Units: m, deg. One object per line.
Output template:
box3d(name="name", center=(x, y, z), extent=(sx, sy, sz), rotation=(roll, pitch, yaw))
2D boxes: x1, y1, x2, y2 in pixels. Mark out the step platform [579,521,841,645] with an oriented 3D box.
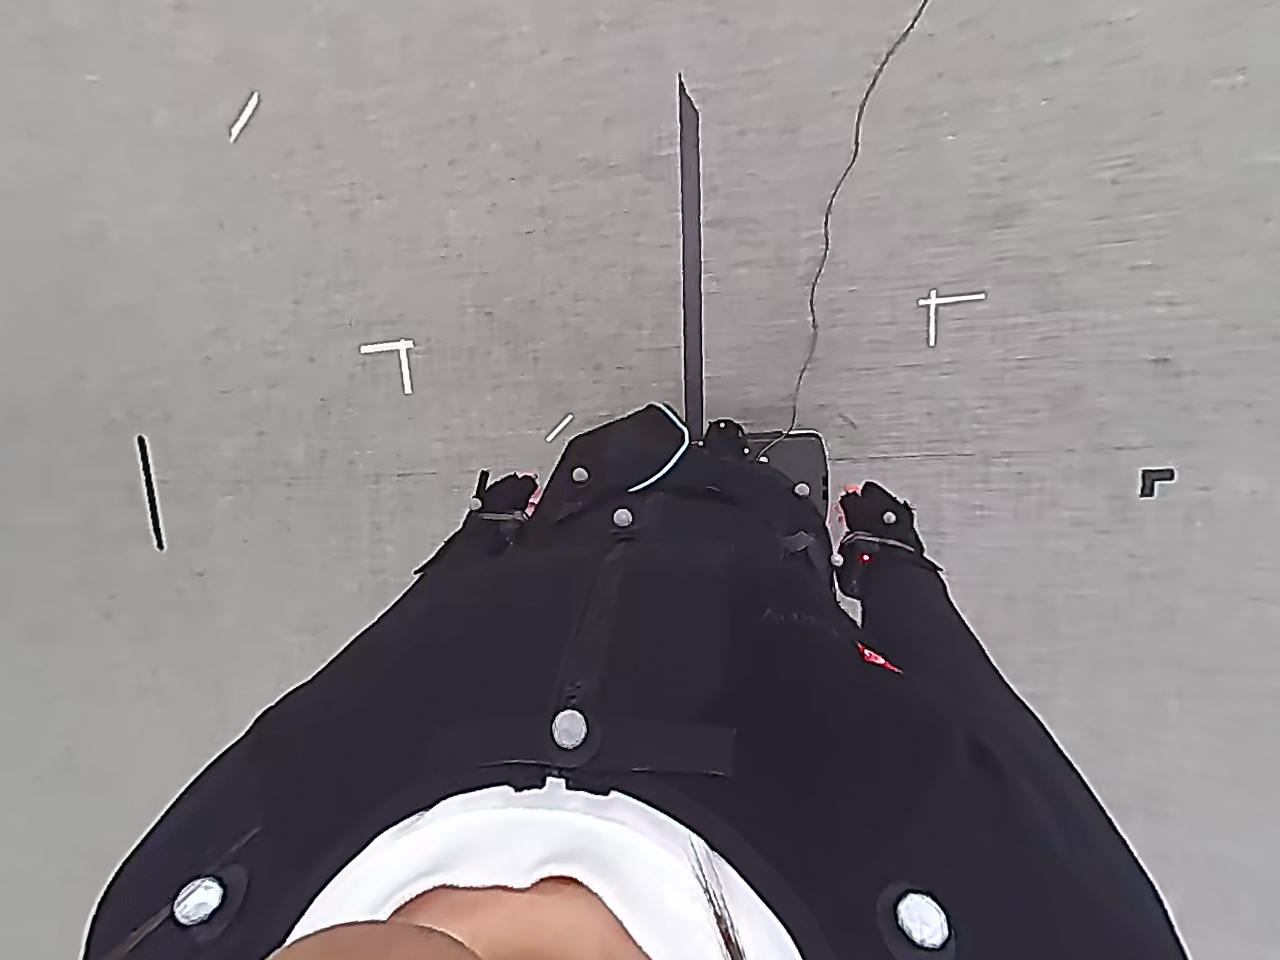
box3d(name="step platform", center=(0.179, 0.275, 1.453), extent=(0.684, 0.204, 0.286), rotation=(-2, 96, 11))
